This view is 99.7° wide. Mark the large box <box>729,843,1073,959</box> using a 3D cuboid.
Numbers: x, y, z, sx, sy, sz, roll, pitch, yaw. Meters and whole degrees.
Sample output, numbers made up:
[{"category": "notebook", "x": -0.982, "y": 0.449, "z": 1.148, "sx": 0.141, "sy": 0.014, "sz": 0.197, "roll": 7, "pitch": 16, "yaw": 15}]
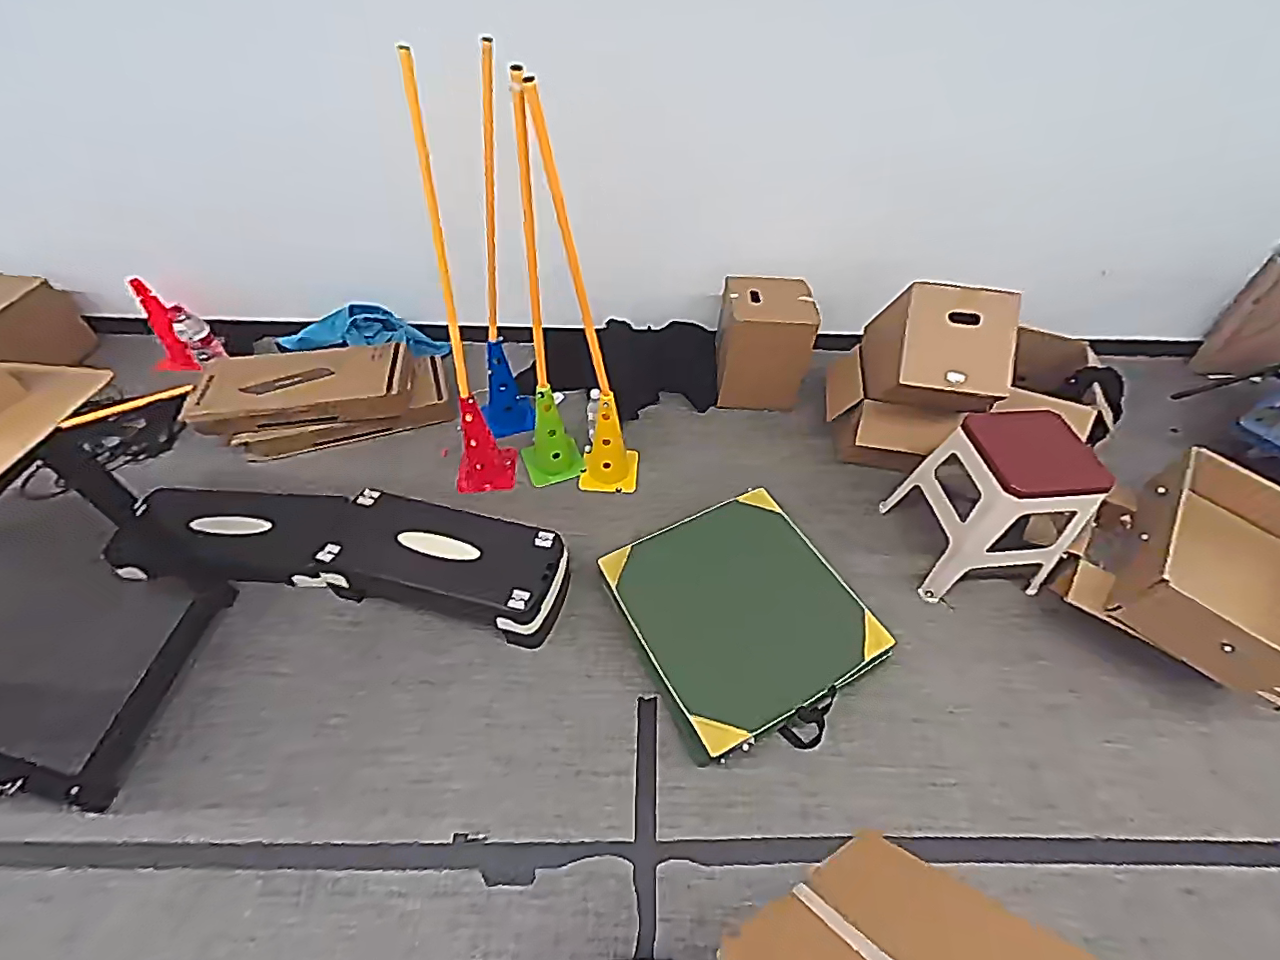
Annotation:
[{"category": "large box", "x": 0.372, "y": 0.743, "z": 0.640, "sx": 0.320, "sy": 0.408, "sz": 0.320, "roll": -23, "pitch": 86, "yaw": -20}]
